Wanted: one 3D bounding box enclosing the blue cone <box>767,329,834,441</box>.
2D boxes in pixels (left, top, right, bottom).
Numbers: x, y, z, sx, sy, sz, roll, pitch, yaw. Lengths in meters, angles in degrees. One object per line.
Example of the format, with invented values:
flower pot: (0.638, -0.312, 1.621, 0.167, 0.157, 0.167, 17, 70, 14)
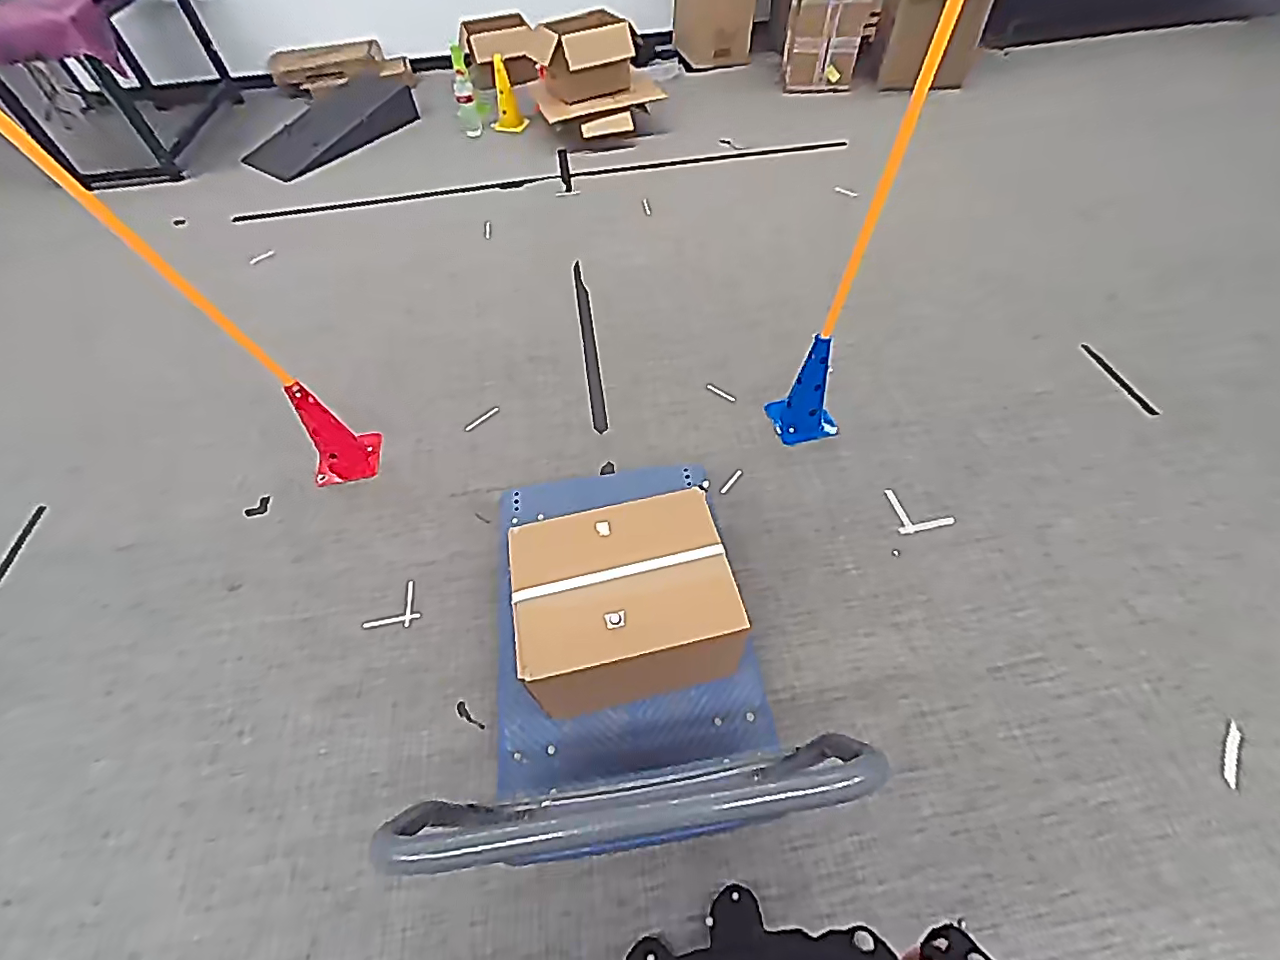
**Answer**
blue cone: (0.548, -0.311, 1.730, 0.193, 0.380, 0.192, -12, 53, -6)
